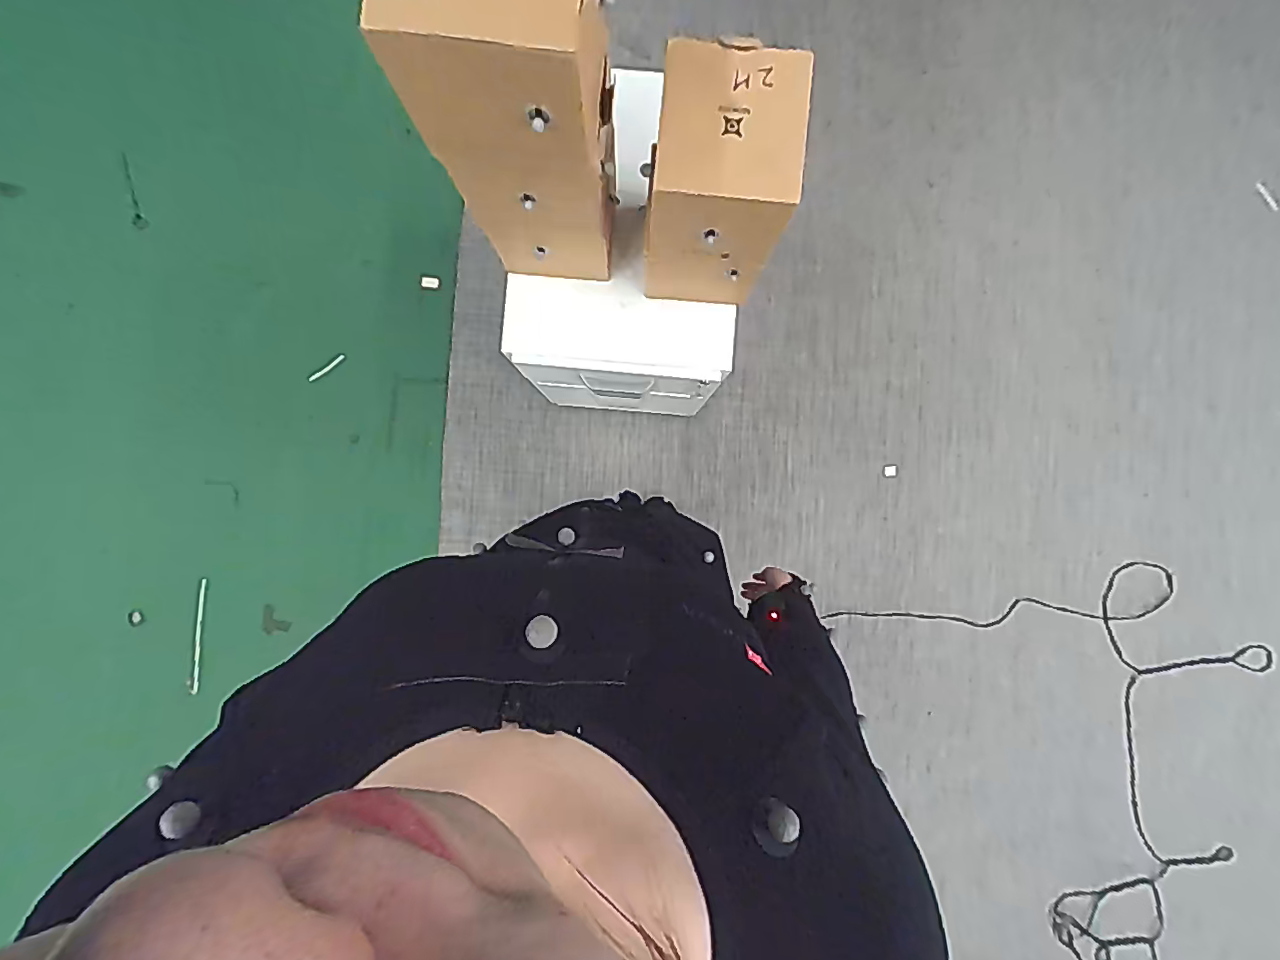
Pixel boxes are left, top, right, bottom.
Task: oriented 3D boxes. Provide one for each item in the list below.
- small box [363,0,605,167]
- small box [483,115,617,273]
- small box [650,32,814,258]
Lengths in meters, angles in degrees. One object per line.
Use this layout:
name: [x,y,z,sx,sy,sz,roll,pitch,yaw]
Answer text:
small box: [-0.128,-0.427,0.510,0.179,0.176,0.168,5,88,-1]
small box: [-0.130,-0.436,0.839,0.179,0.176,0.168,4,90,-2]
small box: [0.102,-0.400,0.676,0.168,0.176,0.179,6,89,-1]
